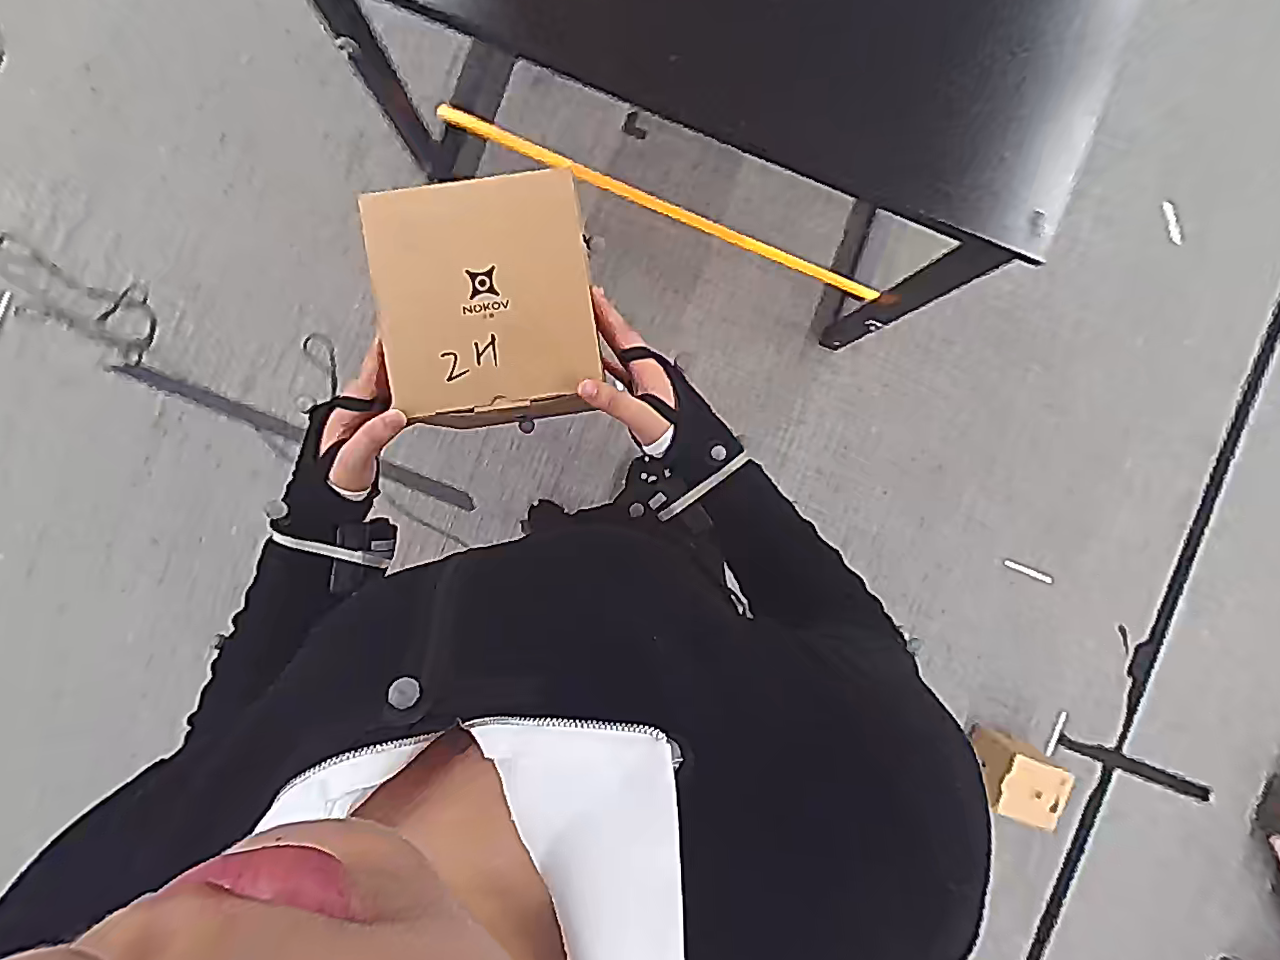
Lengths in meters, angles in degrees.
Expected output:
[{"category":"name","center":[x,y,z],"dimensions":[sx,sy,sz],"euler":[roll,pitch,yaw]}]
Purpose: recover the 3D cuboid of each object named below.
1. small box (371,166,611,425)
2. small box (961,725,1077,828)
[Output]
[{"category":"small box","center":[-0.119,-0.151,0.498],"dimensions":[0.168,0.176,0.179],"euler":[-7,92,-1]},{"category":"small box","center":[1.040,0.811,1.501],"dimensions":[0.179,0.176,0.168],"euler":[21,91,-2]}]
